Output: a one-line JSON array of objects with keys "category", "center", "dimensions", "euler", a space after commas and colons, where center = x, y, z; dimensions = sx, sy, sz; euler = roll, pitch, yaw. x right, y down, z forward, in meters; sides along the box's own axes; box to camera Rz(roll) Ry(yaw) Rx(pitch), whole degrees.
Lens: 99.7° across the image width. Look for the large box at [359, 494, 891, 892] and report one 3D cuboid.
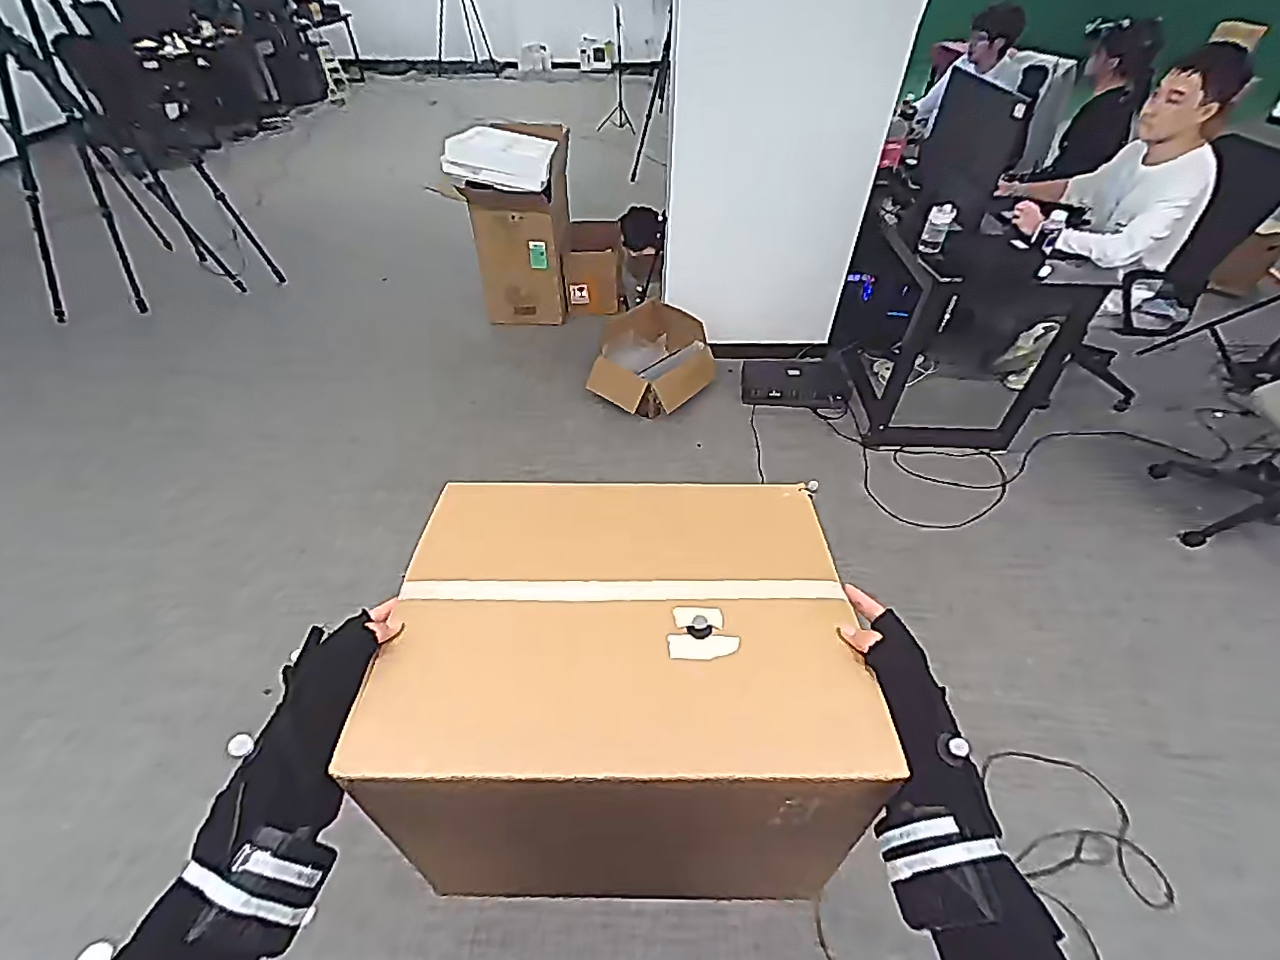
[{"category": "large box", "center": [-0.013, 0.228, 0.604], "dimensions": [0.408, 0.320, 0.320], "euler": [1, 40, 0]}]
